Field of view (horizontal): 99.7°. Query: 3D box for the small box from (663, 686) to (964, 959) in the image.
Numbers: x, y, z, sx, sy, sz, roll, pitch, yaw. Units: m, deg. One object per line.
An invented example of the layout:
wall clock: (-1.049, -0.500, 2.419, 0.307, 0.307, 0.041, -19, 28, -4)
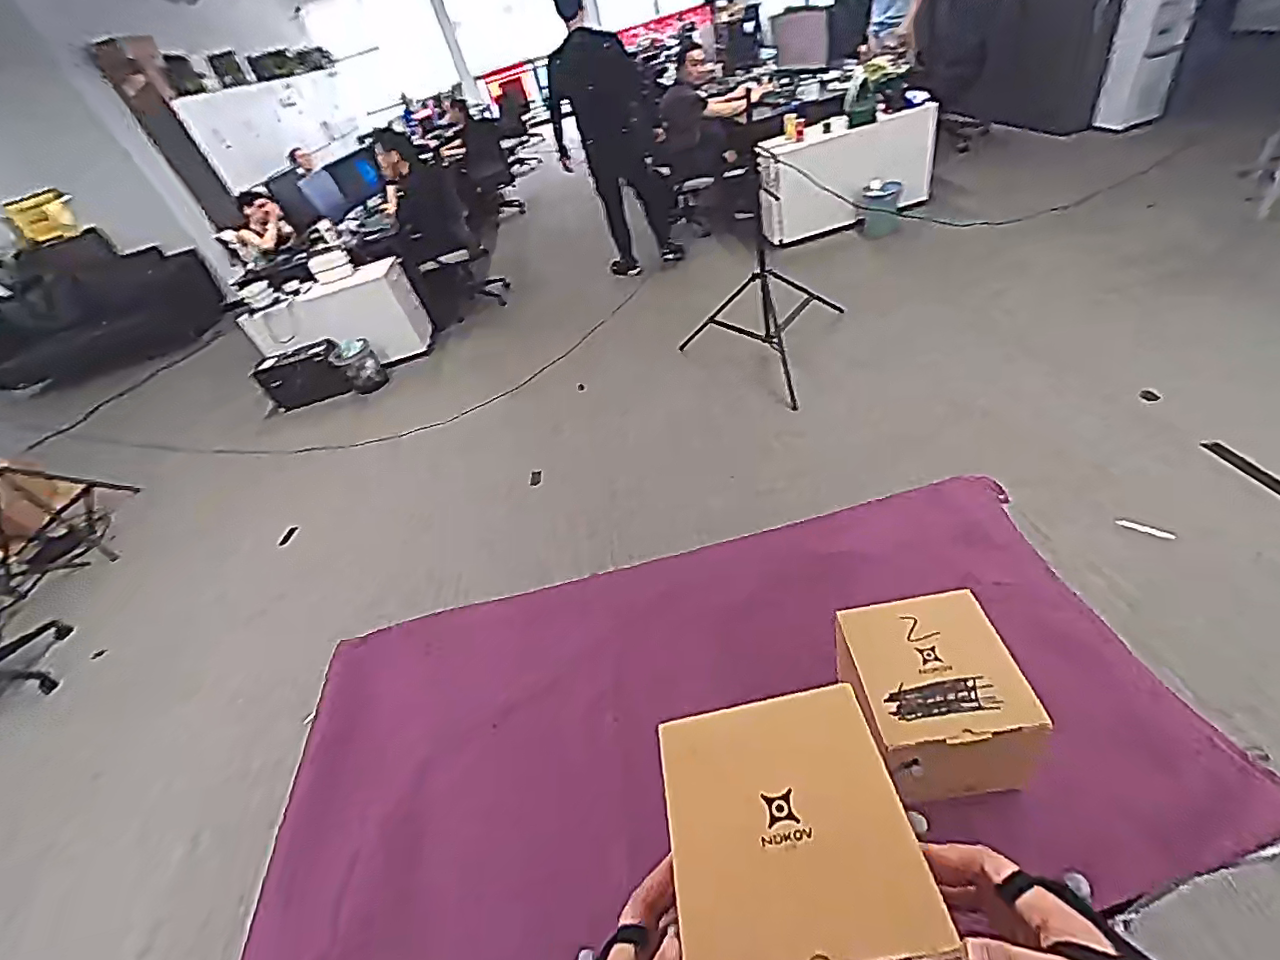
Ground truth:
small box: (0.121, 0.299, 0.428, 0.168, 0.176, 0.179, -15, 36, 6)
